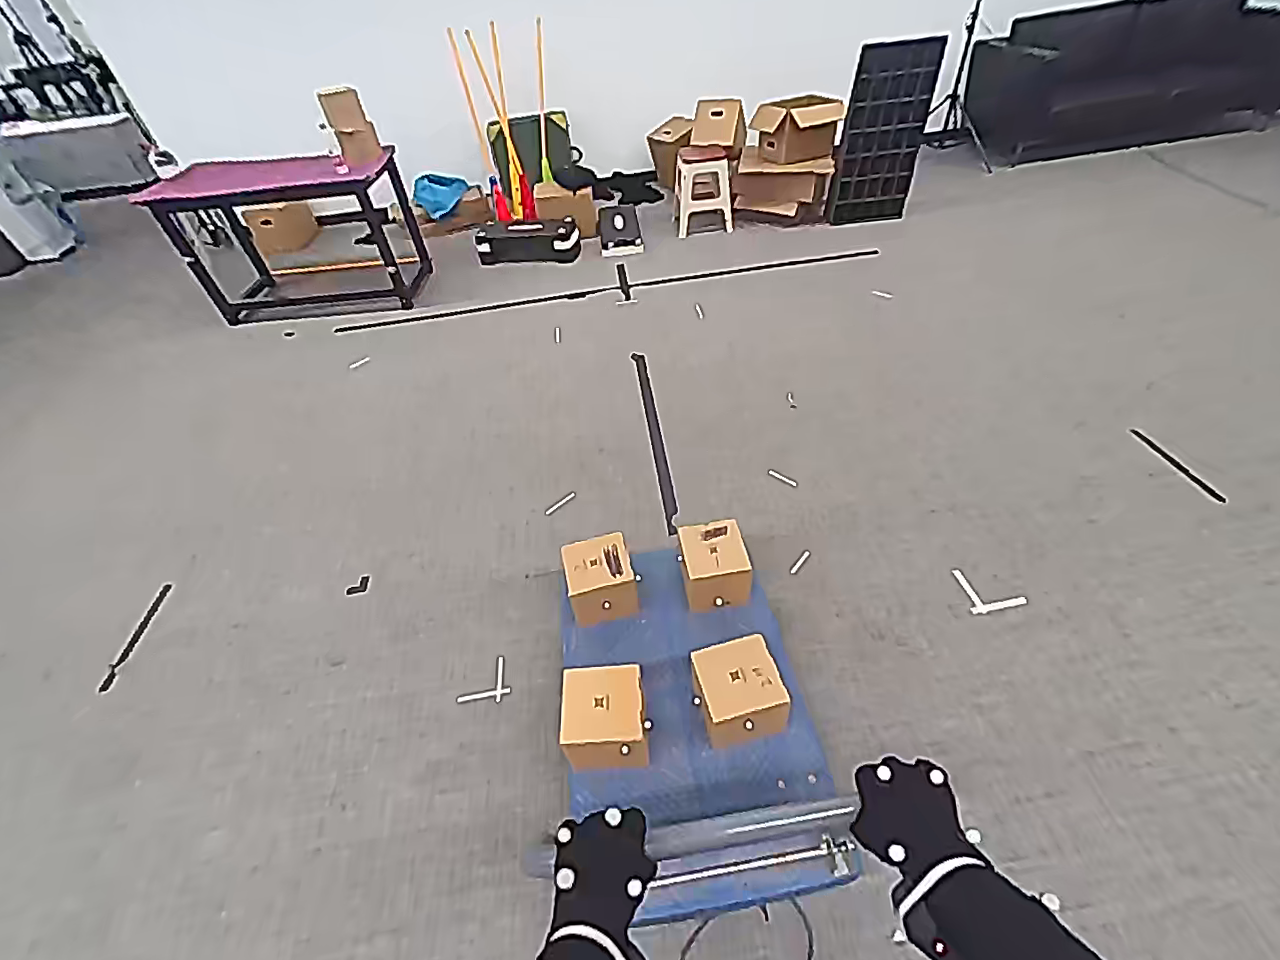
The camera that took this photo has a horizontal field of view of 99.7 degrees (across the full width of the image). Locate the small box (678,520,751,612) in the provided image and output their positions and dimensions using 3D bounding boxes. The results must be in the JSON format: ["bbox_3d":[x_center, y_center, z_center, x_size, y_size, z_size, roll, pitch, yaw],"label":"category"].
[{"bbox_3d":[0.202,0.241,1.505,0.168,0.176,0.179,-9,46,-2],"label":"small box"}]

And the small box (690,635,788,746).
[{"bbox_3d":[0.224,0.492,1.254,0.179,0.176,0.168,-14,46,-6],"label":"small box"}]

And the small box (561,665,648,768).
[{"bbox_3d":[-0.078,0.546,1.241,0.179,0.176,0.168,-5,45,1],"label":"small box"}]
